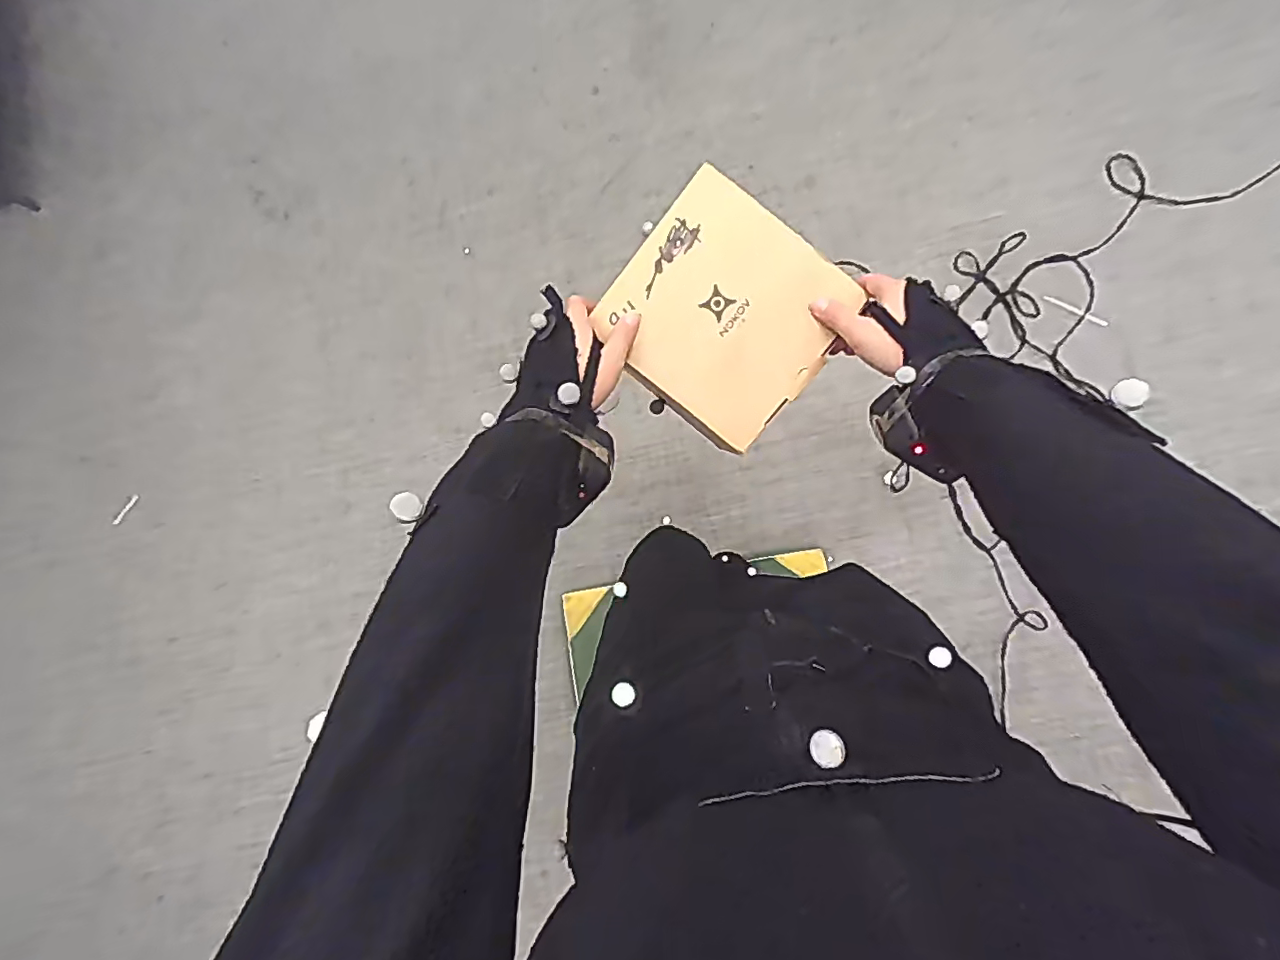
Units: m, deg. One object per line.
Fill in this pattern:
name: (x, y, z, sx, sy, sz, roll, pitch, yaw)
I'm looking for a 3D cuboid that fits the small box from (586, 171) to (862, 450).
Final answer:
small box: (0.073, -0.149, 0.534, 0.179, 0.176, 0.168, 39, 95, -1)
